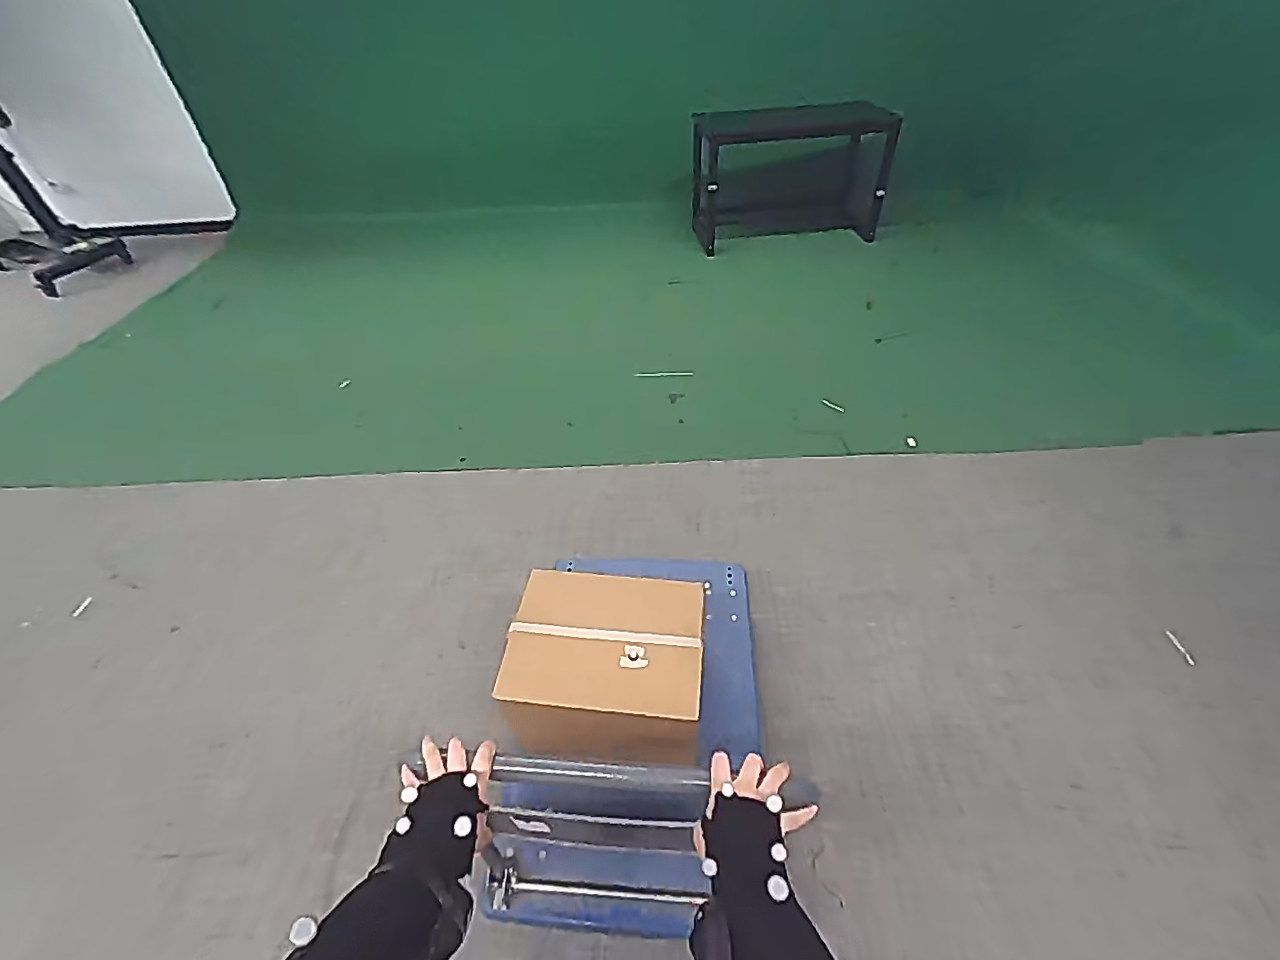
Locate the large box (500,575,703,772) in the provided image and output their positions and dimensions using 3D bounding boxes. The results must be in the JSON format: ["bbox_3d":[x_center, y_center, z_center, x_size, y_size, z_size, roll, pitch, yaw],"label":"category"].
[{"bbox_3d":[-0.067,0.449,1.262,0.408,0.320,0.320,4,44,5],"label":"large box"}]
